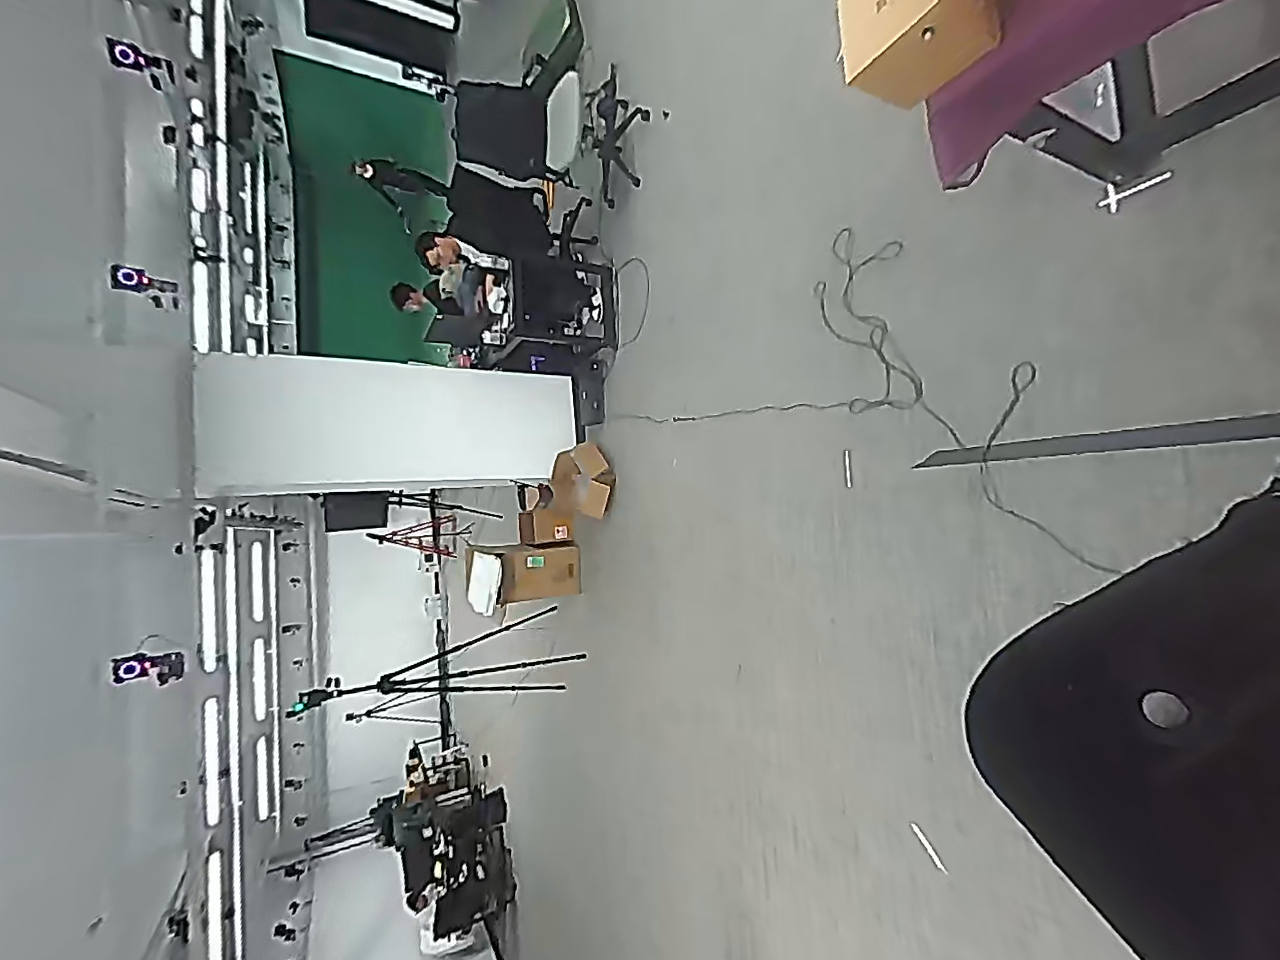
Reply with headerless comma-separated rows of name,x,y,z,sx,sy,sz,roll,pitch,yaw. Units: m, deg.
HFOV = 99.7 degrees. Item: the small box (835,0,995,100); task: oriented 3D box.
small box,0.462,-0.797,0.919,0.179,0.176,0.168,-11,82,60
